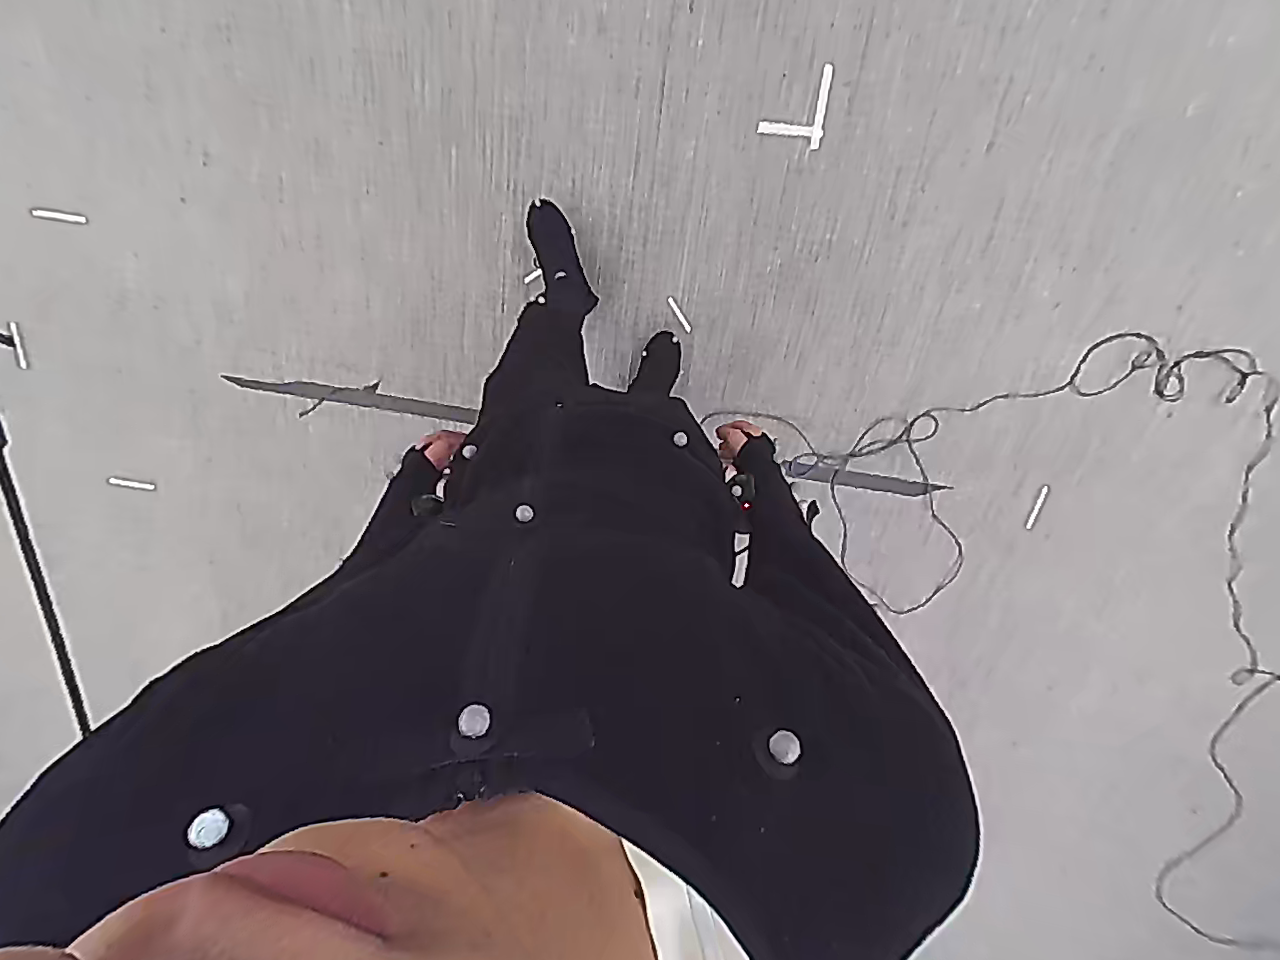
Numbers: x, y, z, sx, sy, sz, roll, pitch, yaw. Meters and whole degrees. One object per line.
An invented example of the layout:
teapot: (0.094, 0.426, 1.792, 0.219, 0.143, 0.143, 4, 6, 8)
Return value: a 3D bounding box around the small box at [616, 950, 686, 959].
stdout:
small box: (0.023, 1.248, 1.265, 0.179, 0.176, 0.168, 2, 111, 4)
